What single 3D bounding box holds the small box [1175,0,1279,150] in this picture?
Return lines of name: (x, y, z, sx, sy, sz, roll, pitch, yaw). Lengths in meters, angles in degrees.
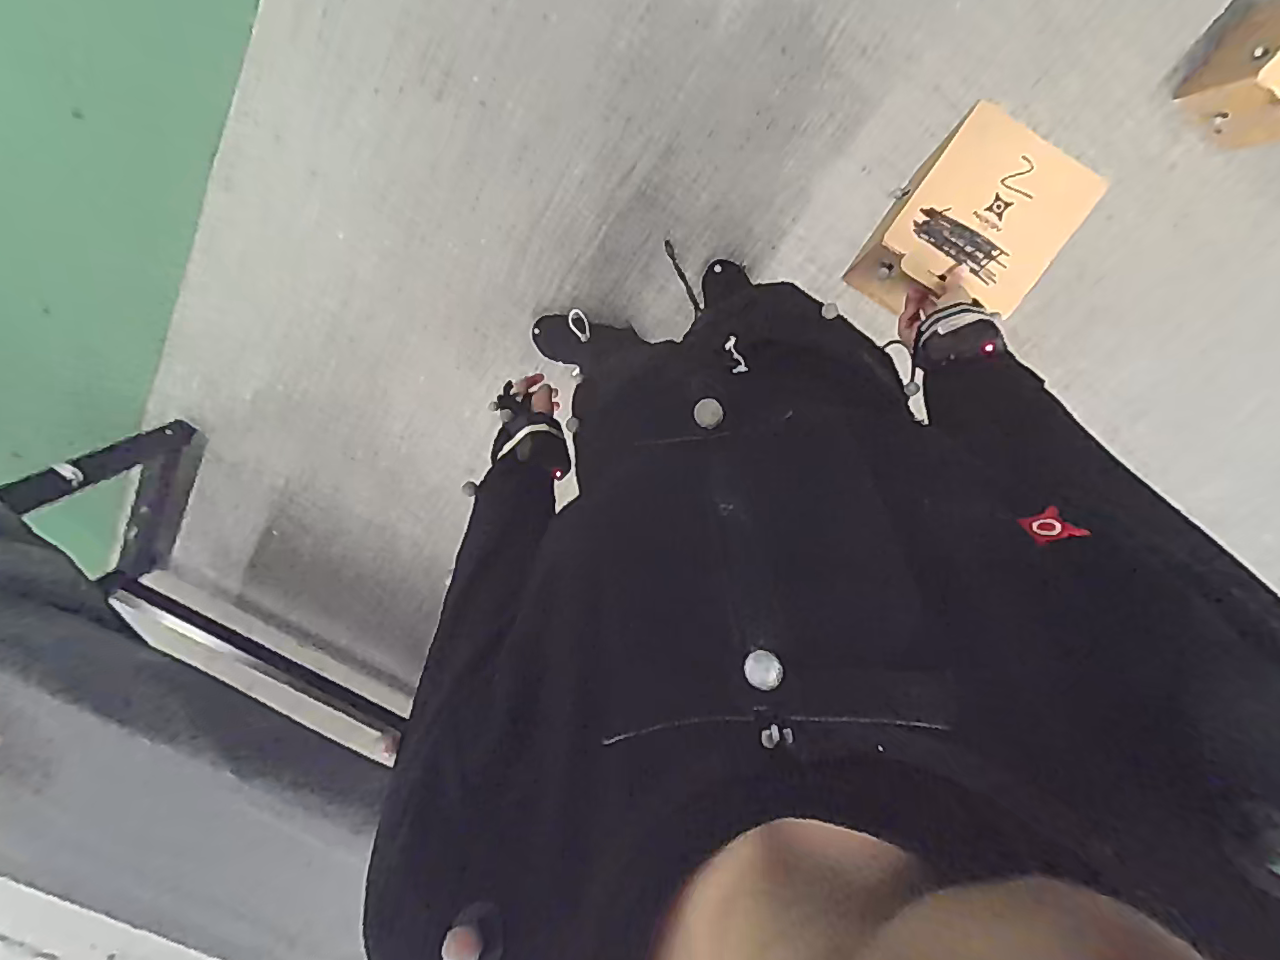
small box: (1.110, -0.708, 0.932, 0.168, 0.176, 0.179, 31, 113, -10)
